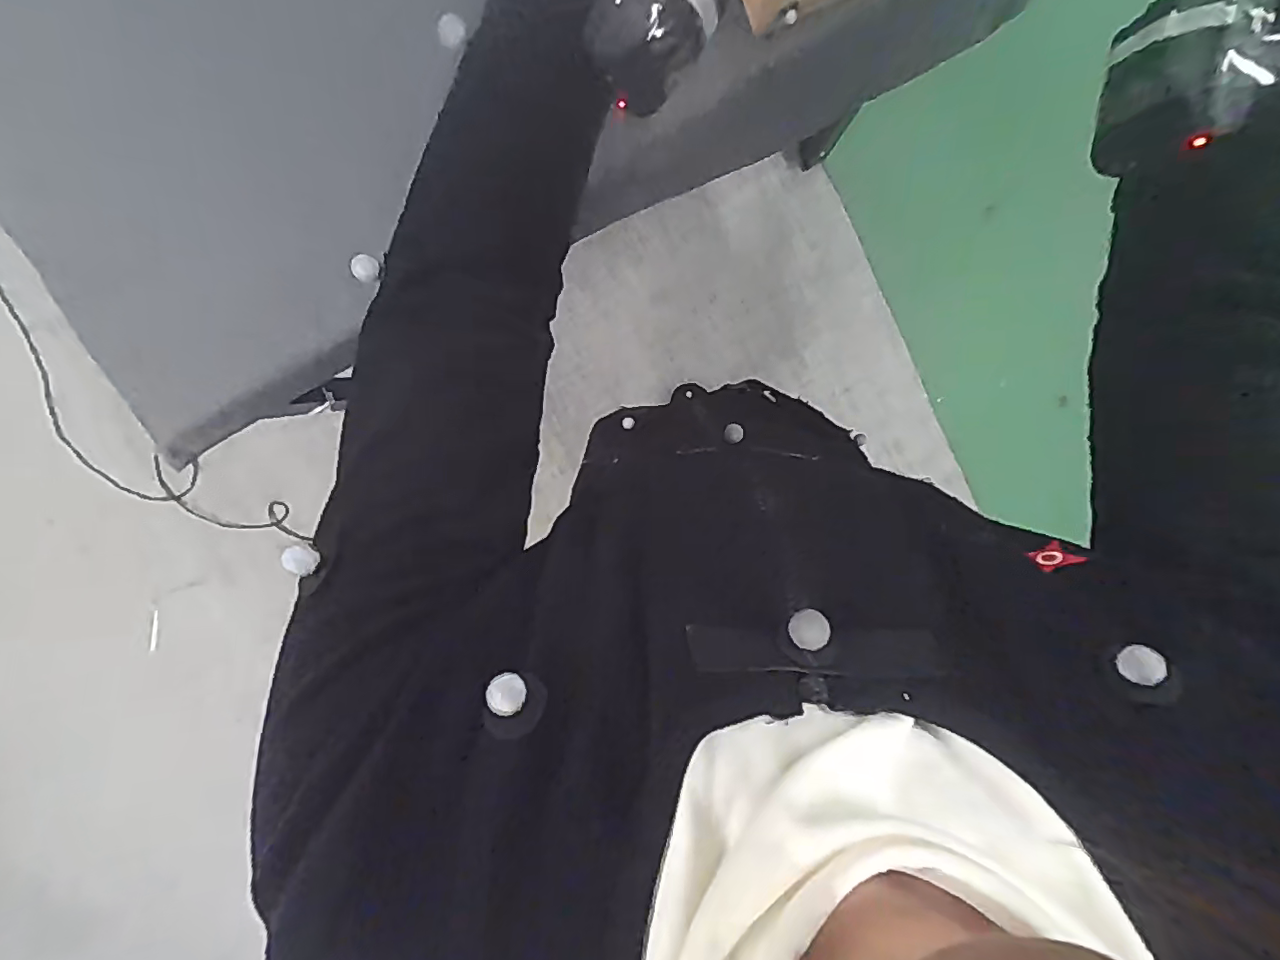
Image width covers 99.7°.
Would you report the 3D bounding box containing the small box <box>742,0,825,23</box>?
[{"bbox_3d":[0.168,-0.584,0.505,0.168,0.176,0.179,-20,97,7],"label":"small box"}]
